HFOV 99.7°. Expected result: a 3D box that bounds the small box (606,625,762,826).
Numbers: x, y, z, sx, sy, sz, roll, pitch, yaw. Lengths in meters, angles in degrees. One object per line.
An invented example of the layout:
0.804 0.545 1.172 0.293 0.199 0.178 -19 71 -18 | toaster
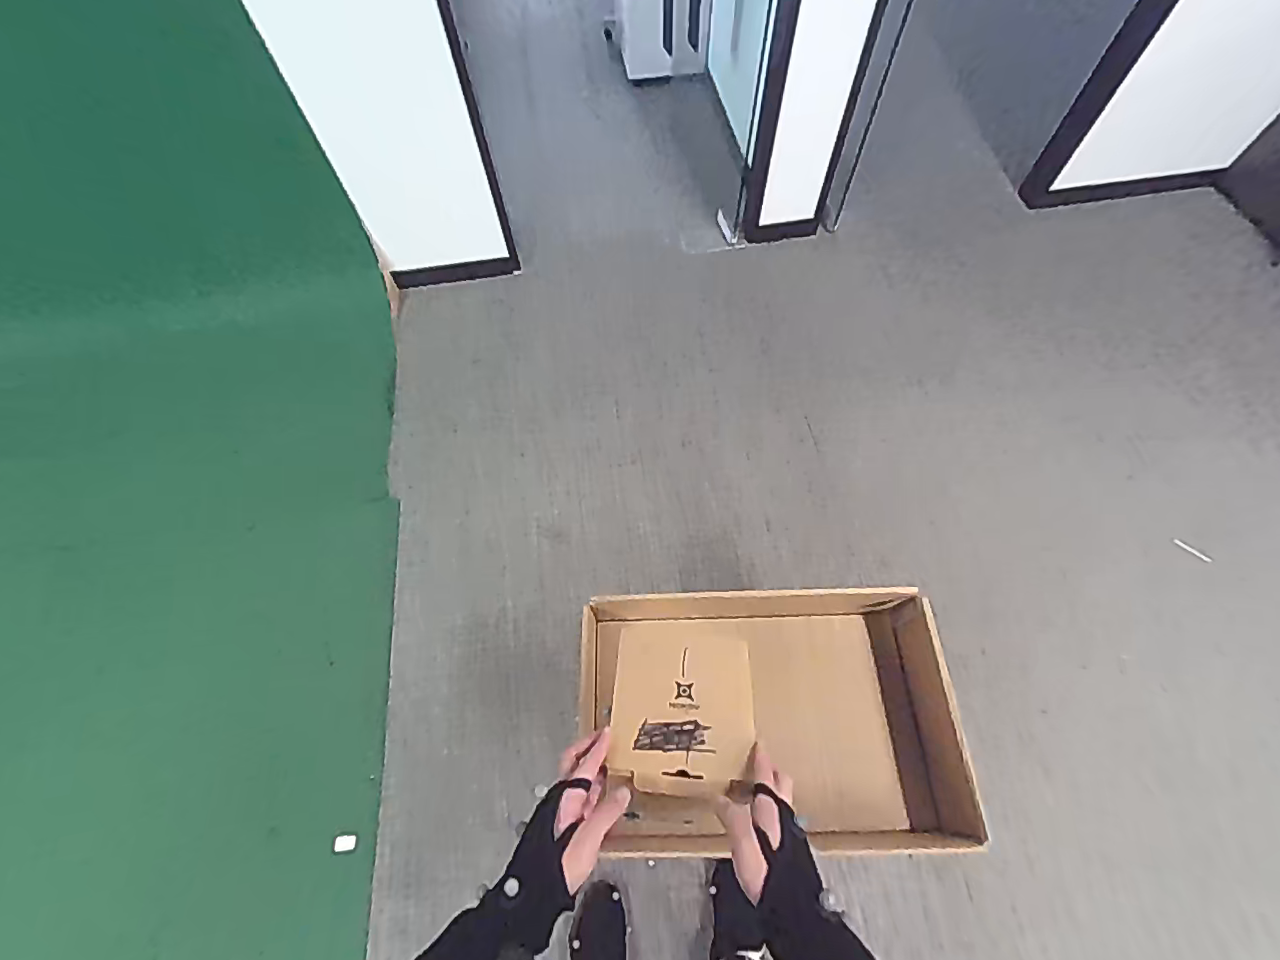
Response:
0.049 0.306 0.673 0.168 0.176 0.179 5 42 0 | small box
